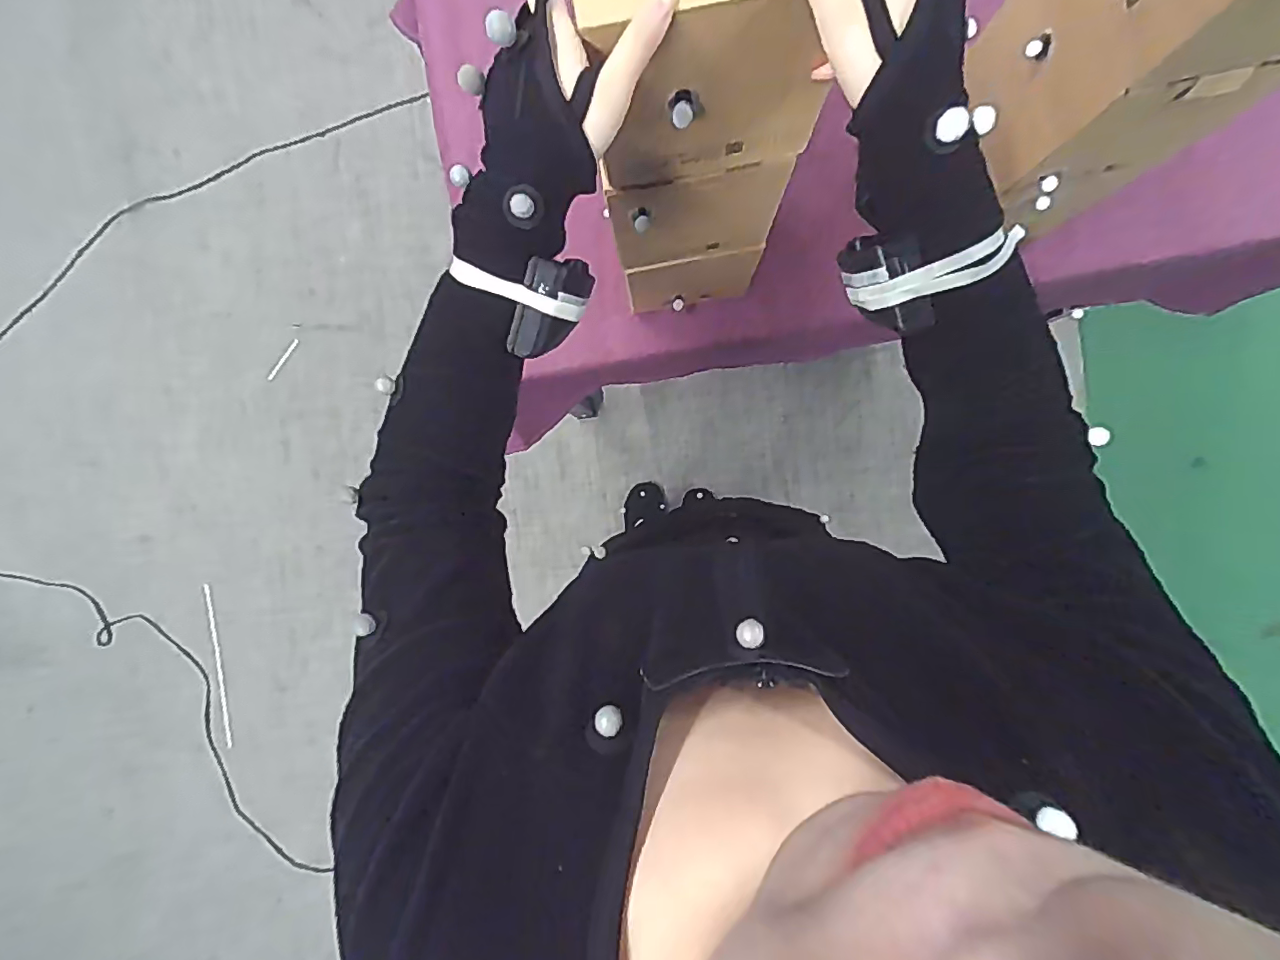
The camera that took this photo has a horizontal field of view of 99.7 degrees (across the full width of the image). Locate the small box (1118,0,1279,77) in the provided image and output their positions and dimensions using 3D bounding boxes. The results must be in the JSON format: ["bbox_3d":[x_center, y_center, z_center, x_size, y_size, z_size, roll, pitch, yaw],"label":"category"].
[{"bbox_3d":[0.454,-0.407,0.349,0.179,0.176,0.168,-10,92,3],"label":"small box"}]

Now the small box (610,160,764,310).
[{"bbox_3d":[0.054,-0.341,0.701,0.168,0.176,0.179,-9,91,3],"label":"small box"}]

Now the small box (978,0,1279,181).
[{"bbox_3d":[0.460,-0.414,0.514,0.168,0.176,0.179,-10,90,3],"label":"small box"}]

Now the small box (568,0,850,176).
[{"bbox_3d":[0.038,-0.340,0.374,0.168,0.176,0.179,-9,89,4],"label":"small box"}]

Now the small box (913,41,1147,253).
[{"bbox_3d":[0.467,-0.416,0.678,0.168,0.176,0.179,-10,90,4],"label":"small box"}]
